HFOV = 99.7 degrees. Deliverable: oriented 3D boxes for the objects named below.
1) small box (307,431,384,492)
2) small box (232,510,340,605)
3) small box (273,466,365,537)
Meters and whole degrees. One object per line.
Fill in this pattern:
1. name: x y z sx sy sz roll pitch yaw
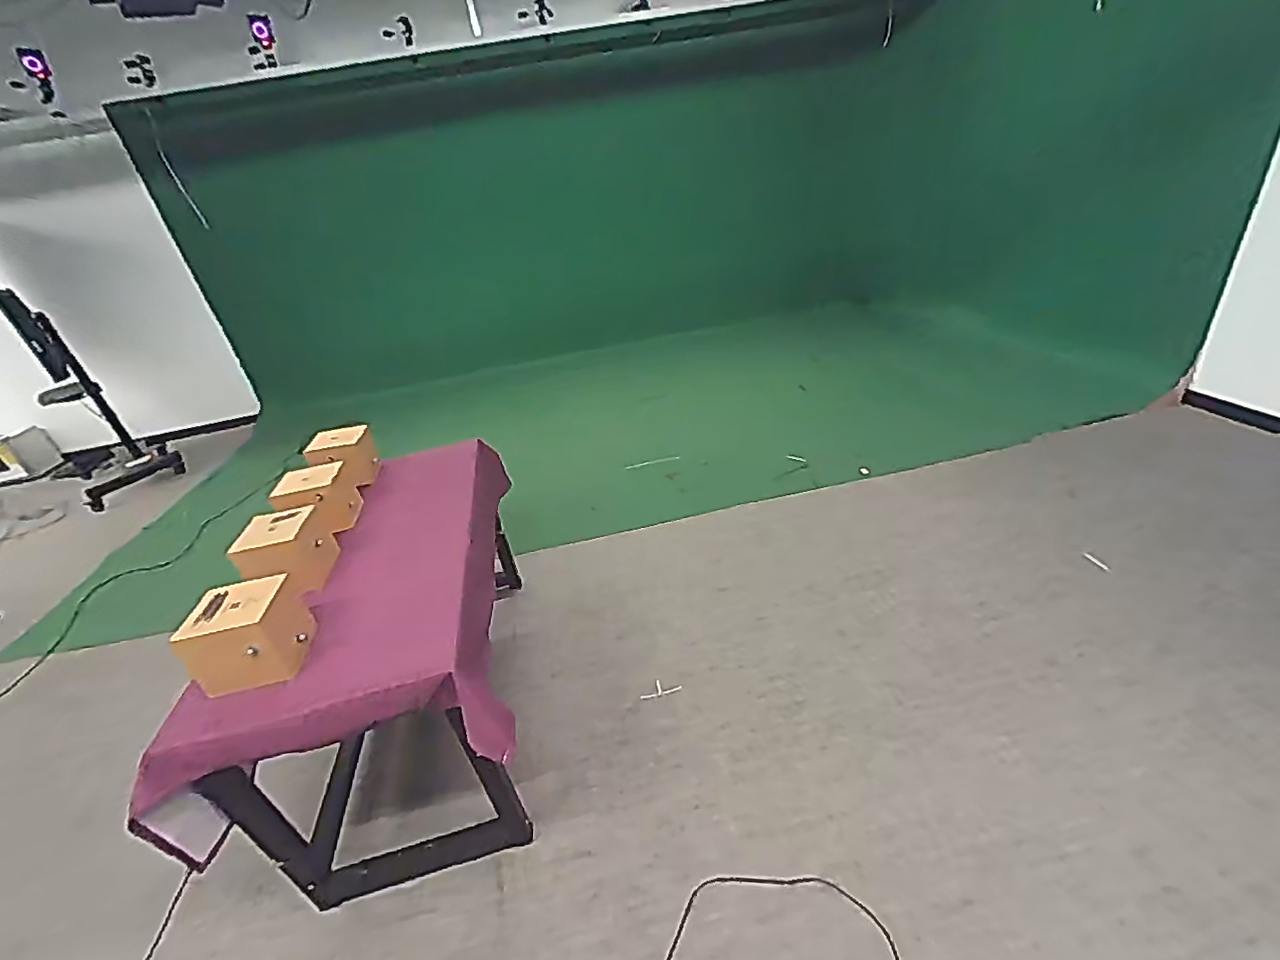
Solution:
1. small box: -1.063 -0.059 1.966 0.179 0.176 0.168 -10 31 -6
2. small box: -0.950 0.210 1.474 0.168 0.176 0.179 -13 31 -5
3. small box: -1.011 0.081 1.718 0.179 0.176 0.168 -13 30 -7
